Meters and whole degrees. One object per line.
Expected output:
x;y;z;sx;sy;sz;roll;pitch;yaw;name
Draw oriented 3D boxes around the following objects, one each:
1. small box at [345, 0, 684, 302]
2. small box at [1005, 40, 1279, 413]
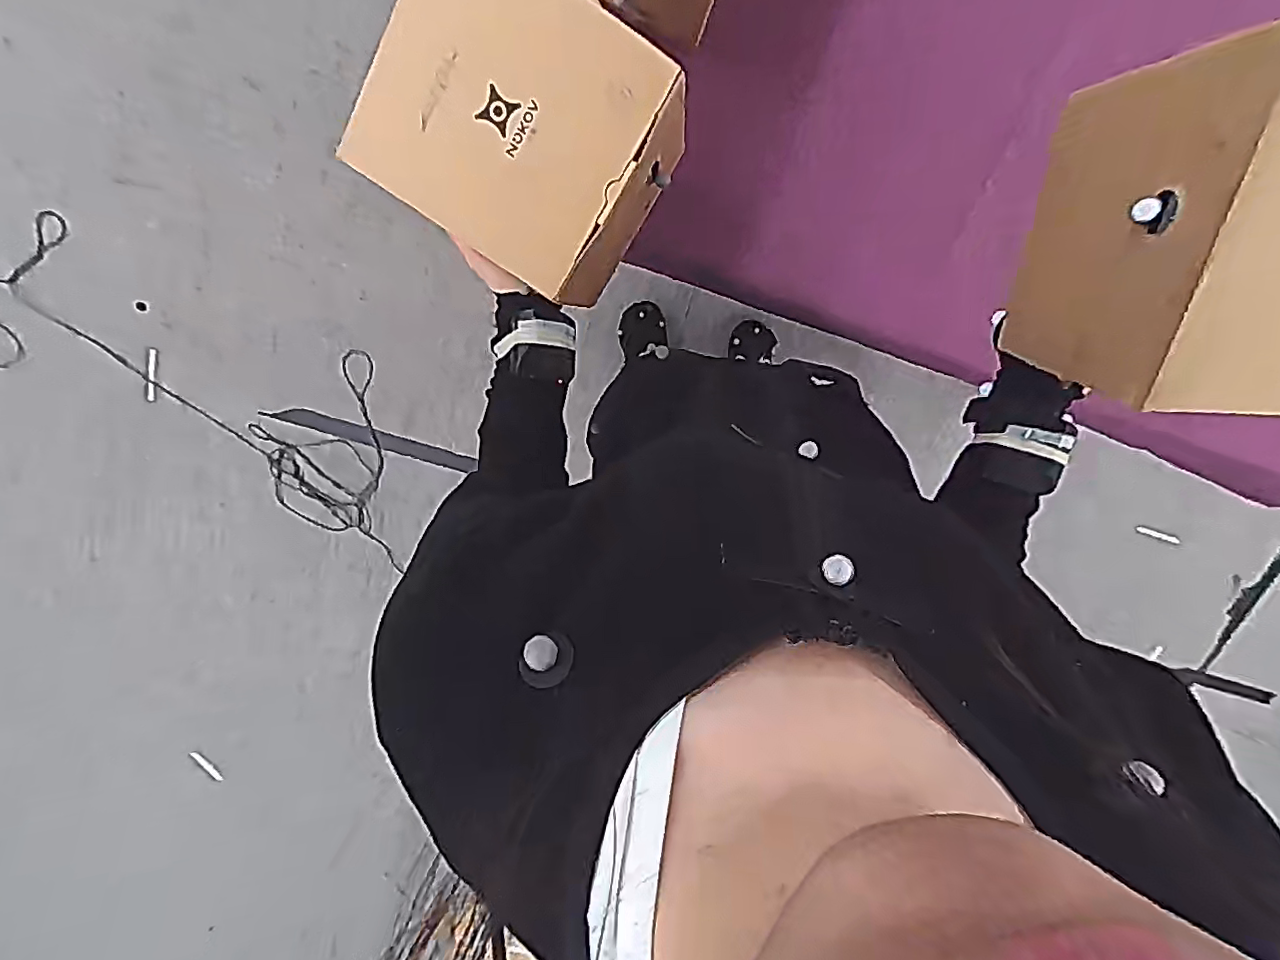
-0.080;-0.260;0.429;0.179;0.176;0.168;32;105;-5;small box
0.367;-0.149;0.332;0.168;0.176;0.179;4;116;5;small box
